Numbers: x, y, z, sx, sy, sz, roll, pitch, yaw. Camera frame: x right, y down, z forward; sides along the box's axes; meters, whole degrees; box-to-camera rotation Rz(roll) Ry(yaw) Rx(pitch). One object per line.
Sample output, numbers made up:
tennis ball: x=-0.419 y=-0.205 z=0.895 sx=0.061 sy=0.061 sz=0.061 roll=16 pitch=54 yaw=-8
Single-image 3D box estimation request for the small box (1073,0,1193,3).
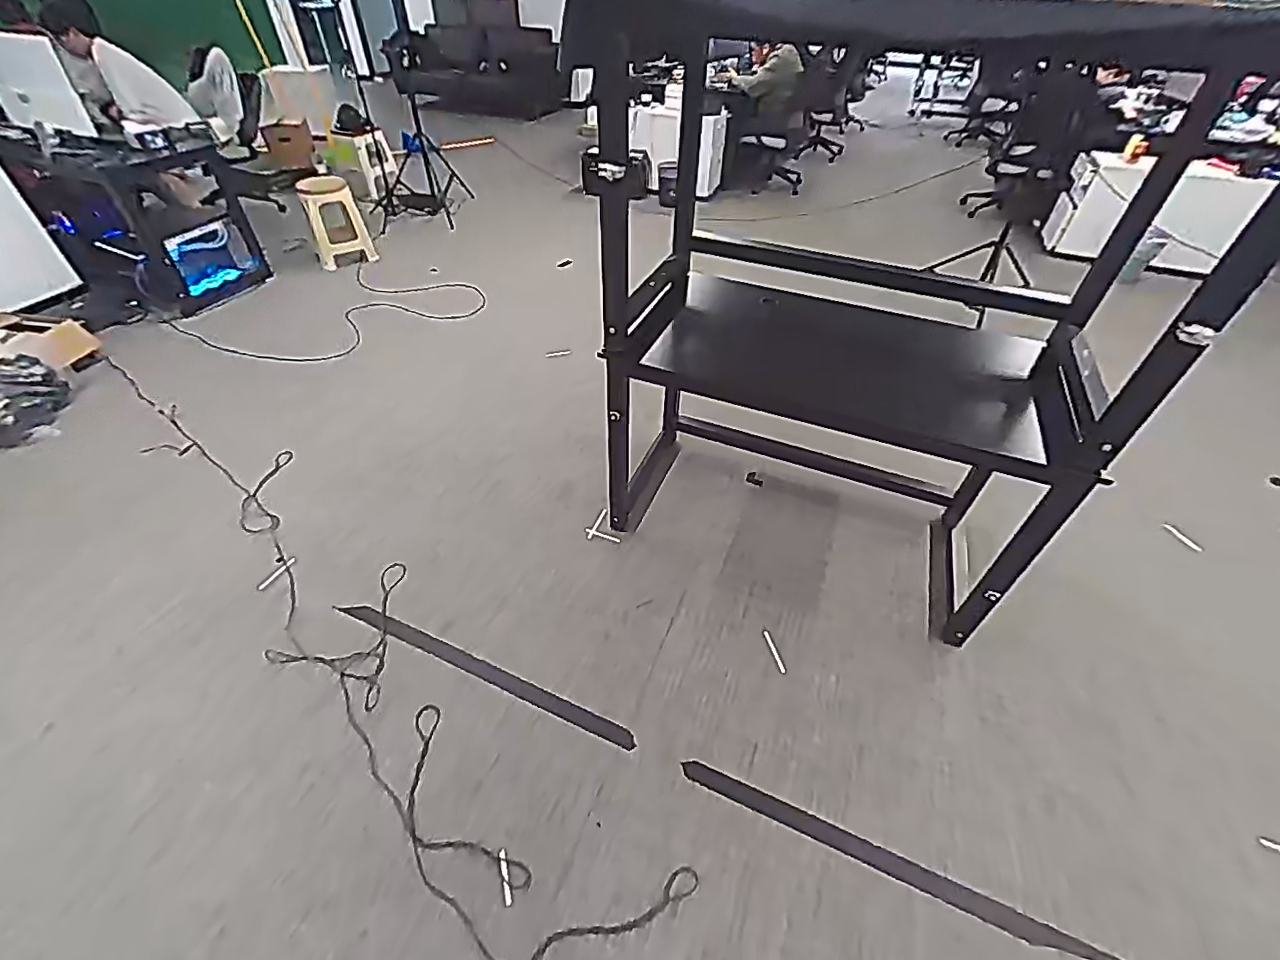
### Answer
small box: x=0.735 y=-0.782 z=0.757 sx=0.168 sy=0.176 sz=0.179 roll=20 pitch=45 yaw=18
